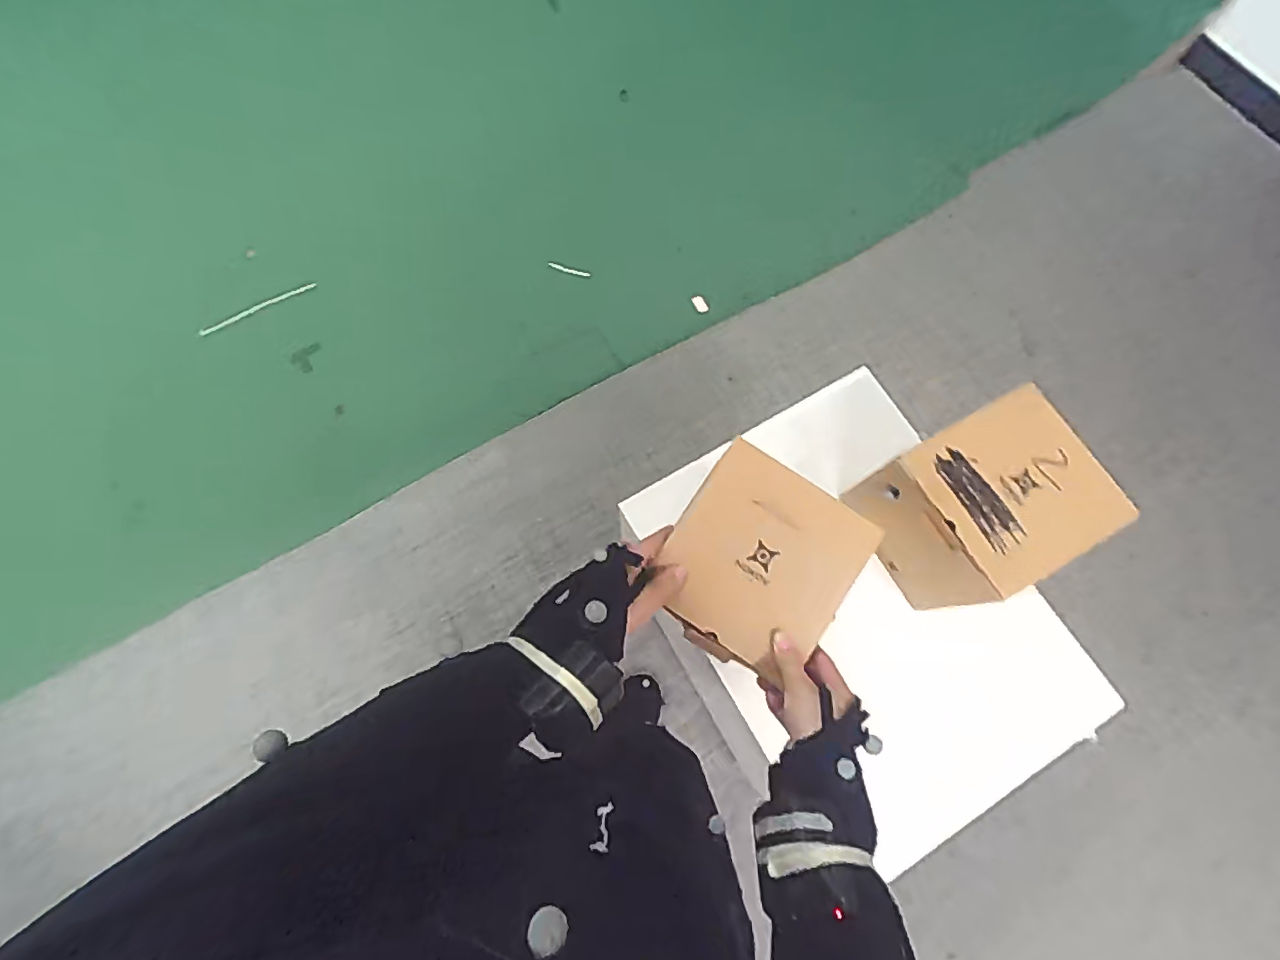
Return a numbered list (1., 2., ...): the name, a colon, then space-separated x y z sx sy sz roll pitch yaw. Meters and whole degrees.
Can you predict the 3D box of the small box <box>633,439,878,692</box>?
1. small box: 0.108 0.087 0.573 0.168 0.176 0.179 33 82 4
